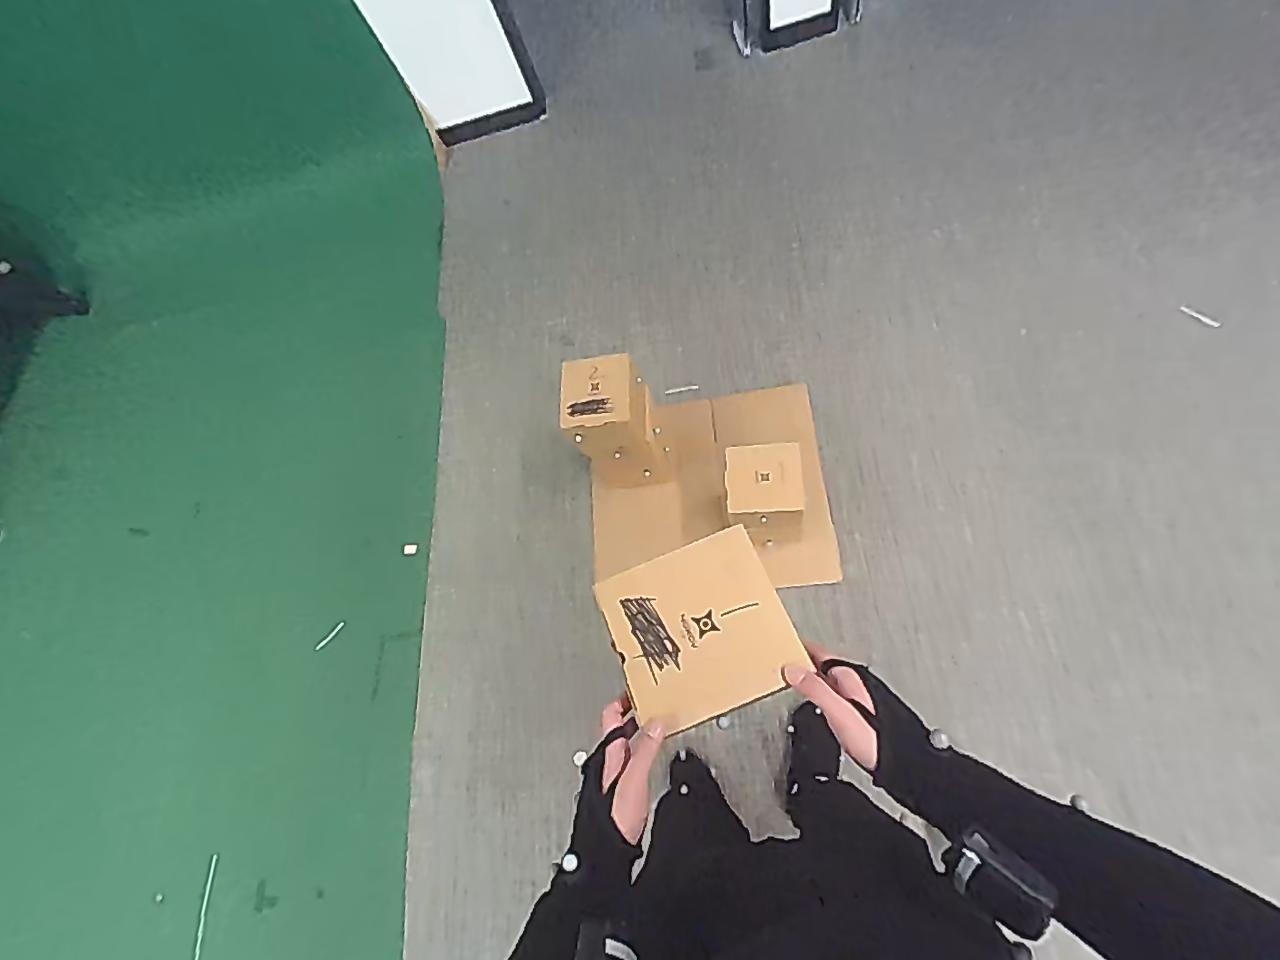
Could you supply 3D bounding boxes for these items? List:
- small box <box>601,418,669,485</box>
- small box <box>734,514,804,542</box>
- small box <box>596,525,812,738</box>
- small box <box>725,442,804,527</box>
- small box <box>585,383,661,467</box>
[{"bbox_3d":[-0.010,-0.091,1.611,0.179,0.176,0.168,-6,70,12],"label":"small box"},{"bbox_3d":[0.344,0.071,1.470,0.179,0.176,0.168,-5,70,12],"label":"small box"},{"bbox_3d":[0.071,0.178,0.614,0.179,0.176,0.168,-22,65,-1],"label":"small box"},{"bbox_3d":[0.305,0.017,1.321,0.179,0.176,0.168,-3,72,13],"label":"small box"},{"bbox_3d":[-0.041,-0.143,1.460,0.179,0.176,0.168,-7,71,13],"label":"small box"}]
